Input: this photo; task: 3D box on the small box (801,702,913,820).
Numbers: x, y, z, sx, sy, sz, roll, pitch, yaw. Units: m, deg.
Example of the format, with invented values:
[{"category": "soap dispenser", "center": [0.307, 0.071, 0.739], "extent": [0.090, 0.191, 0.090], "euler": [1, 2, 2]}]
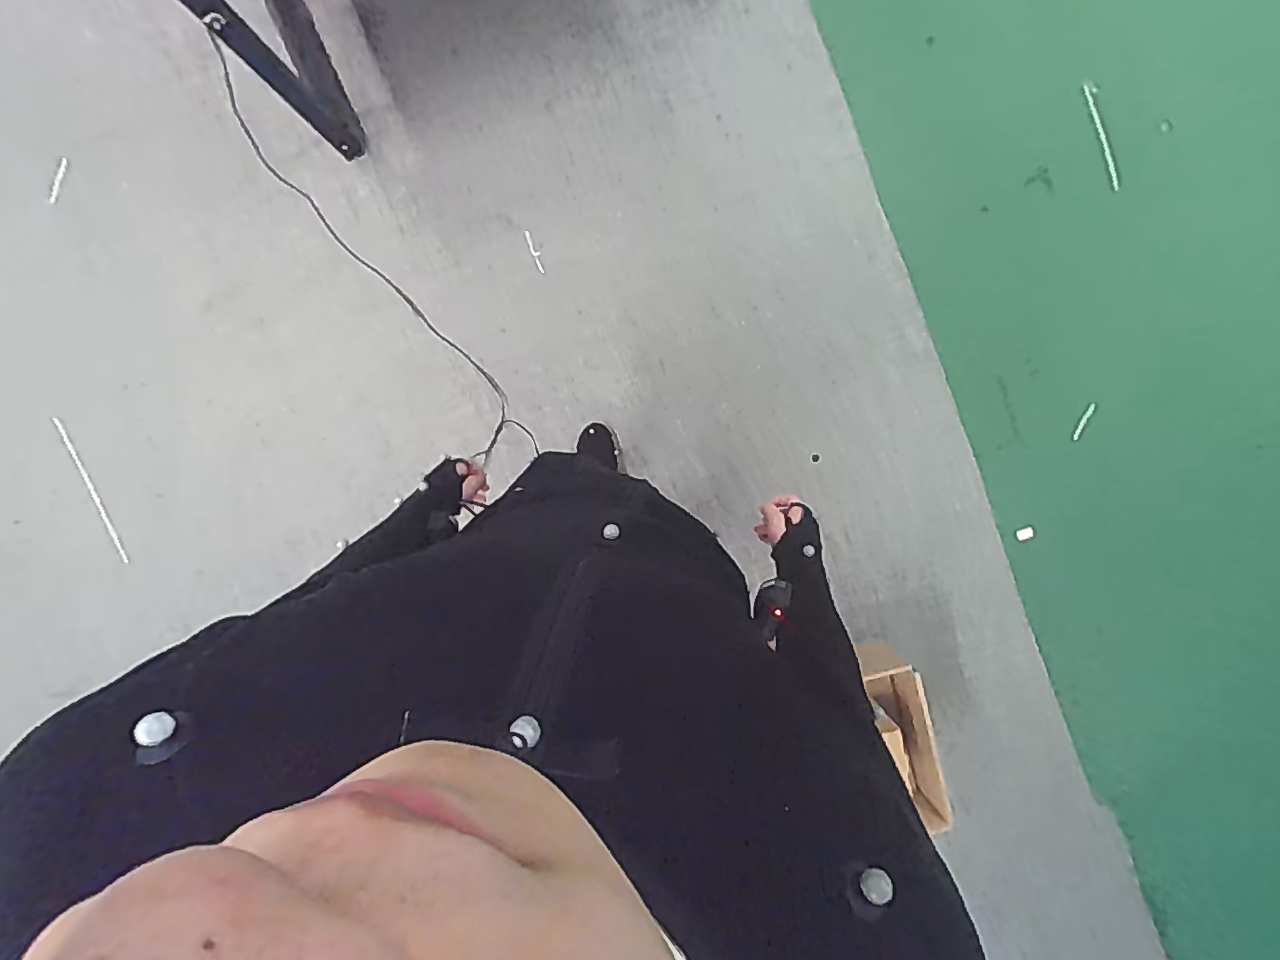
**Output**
[{"category": "small box", "center": [0.496, 0.640, 1.255], "extent": [0.179, 0.176, 0.168], "euler": [-12, 94, 0]}]
